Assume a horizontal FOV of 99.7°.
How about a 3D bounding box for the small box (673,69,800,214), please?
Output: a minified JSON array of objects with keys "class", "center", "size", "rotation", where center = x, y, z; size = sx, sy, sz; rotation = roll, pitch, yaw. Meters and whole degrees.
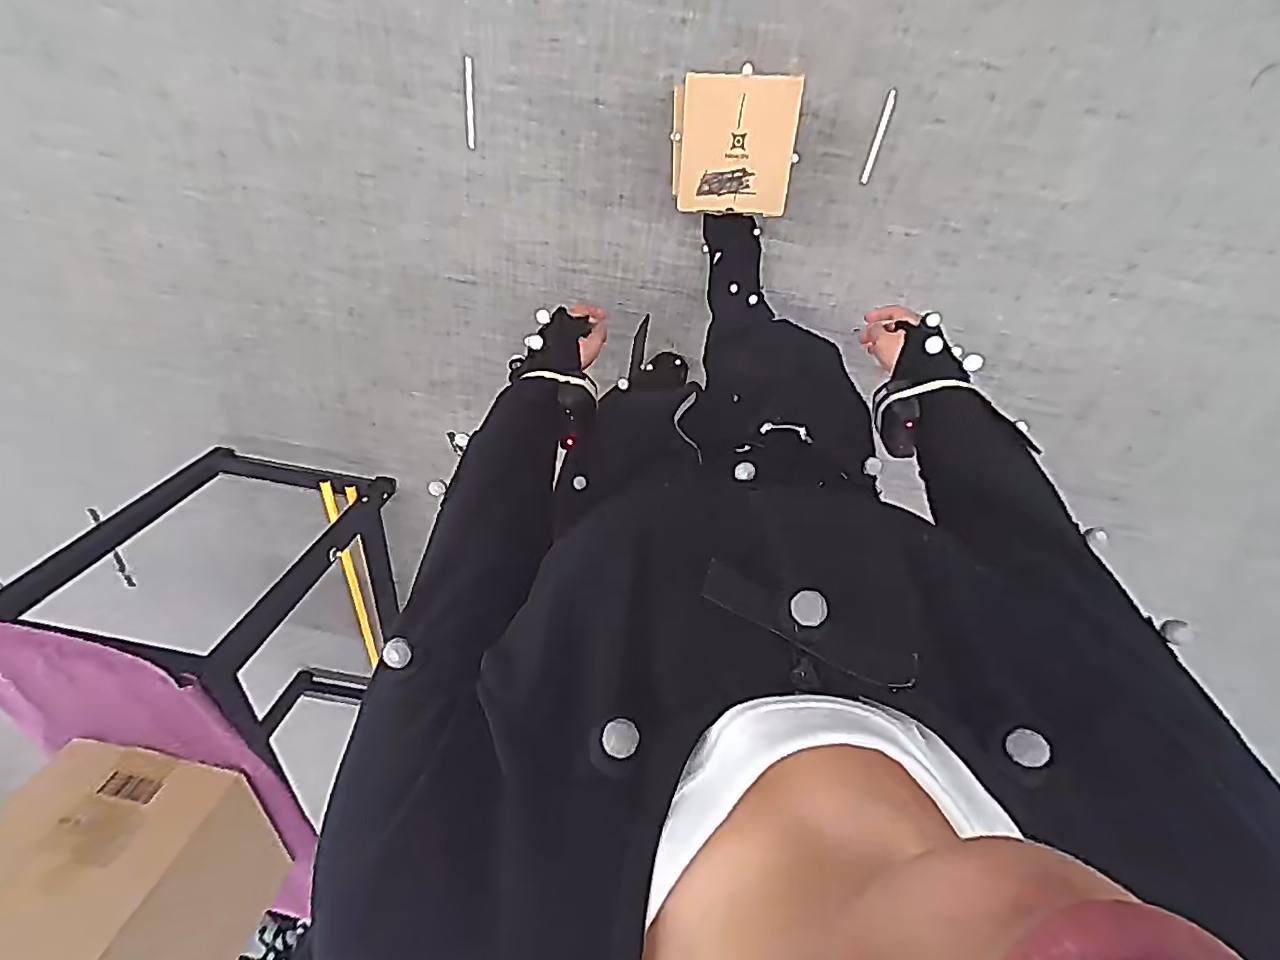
[{"class":"small box","center":[0.145,-0.534,0.854],"size":[0.168,0.176,0.179],"rotation":[5,124,4]}]
